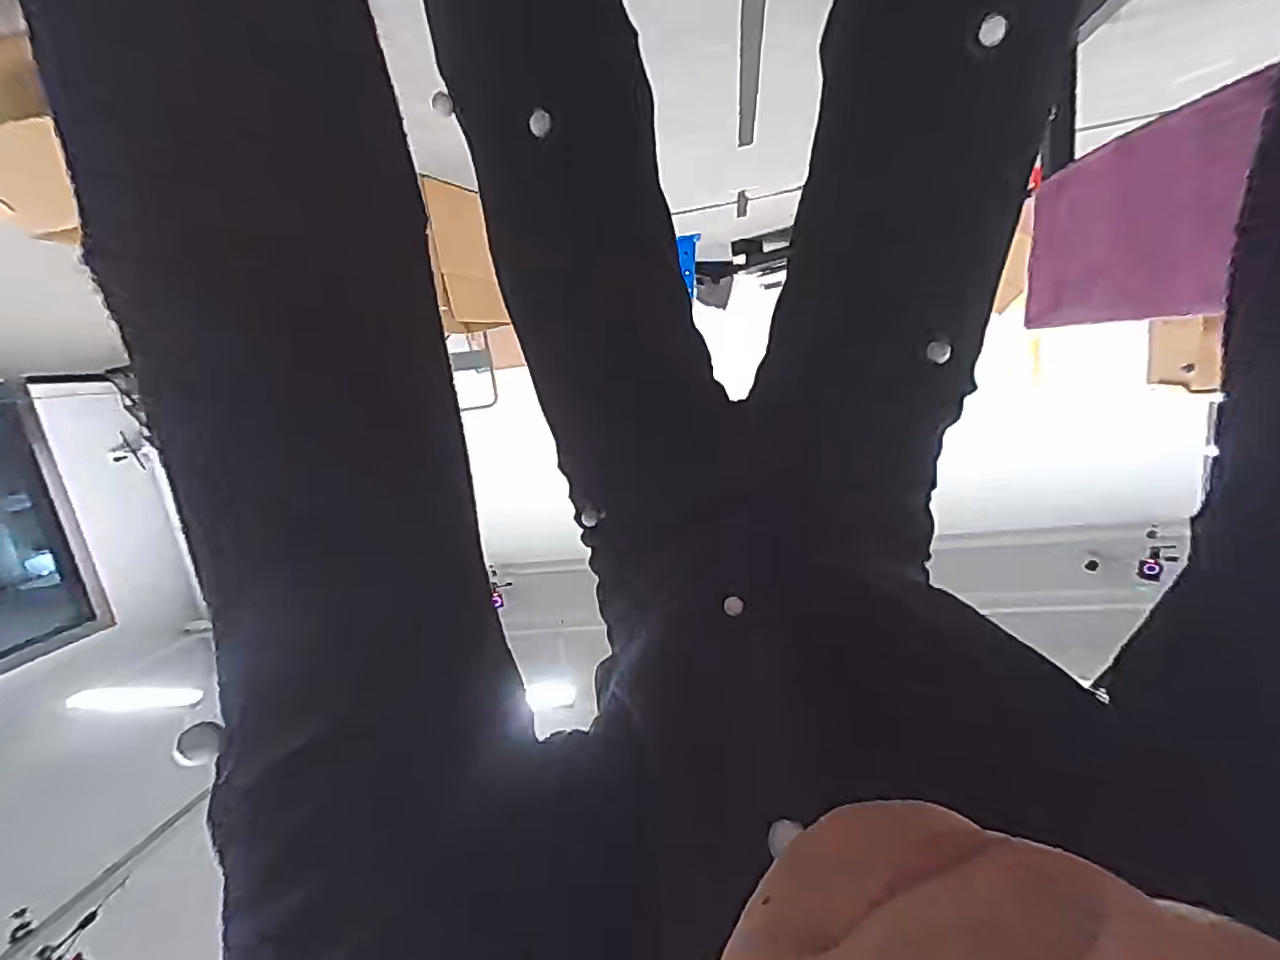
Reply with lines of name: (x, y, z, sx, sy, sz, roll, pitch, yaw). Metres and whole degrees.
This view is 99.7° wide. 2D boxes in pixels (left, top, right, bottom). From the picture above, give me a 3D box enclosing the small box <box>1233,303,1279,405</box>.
small box: (1.148, -0.219, 0.889, 0.179, 0.176, 0.168, -5, -168, 17)
